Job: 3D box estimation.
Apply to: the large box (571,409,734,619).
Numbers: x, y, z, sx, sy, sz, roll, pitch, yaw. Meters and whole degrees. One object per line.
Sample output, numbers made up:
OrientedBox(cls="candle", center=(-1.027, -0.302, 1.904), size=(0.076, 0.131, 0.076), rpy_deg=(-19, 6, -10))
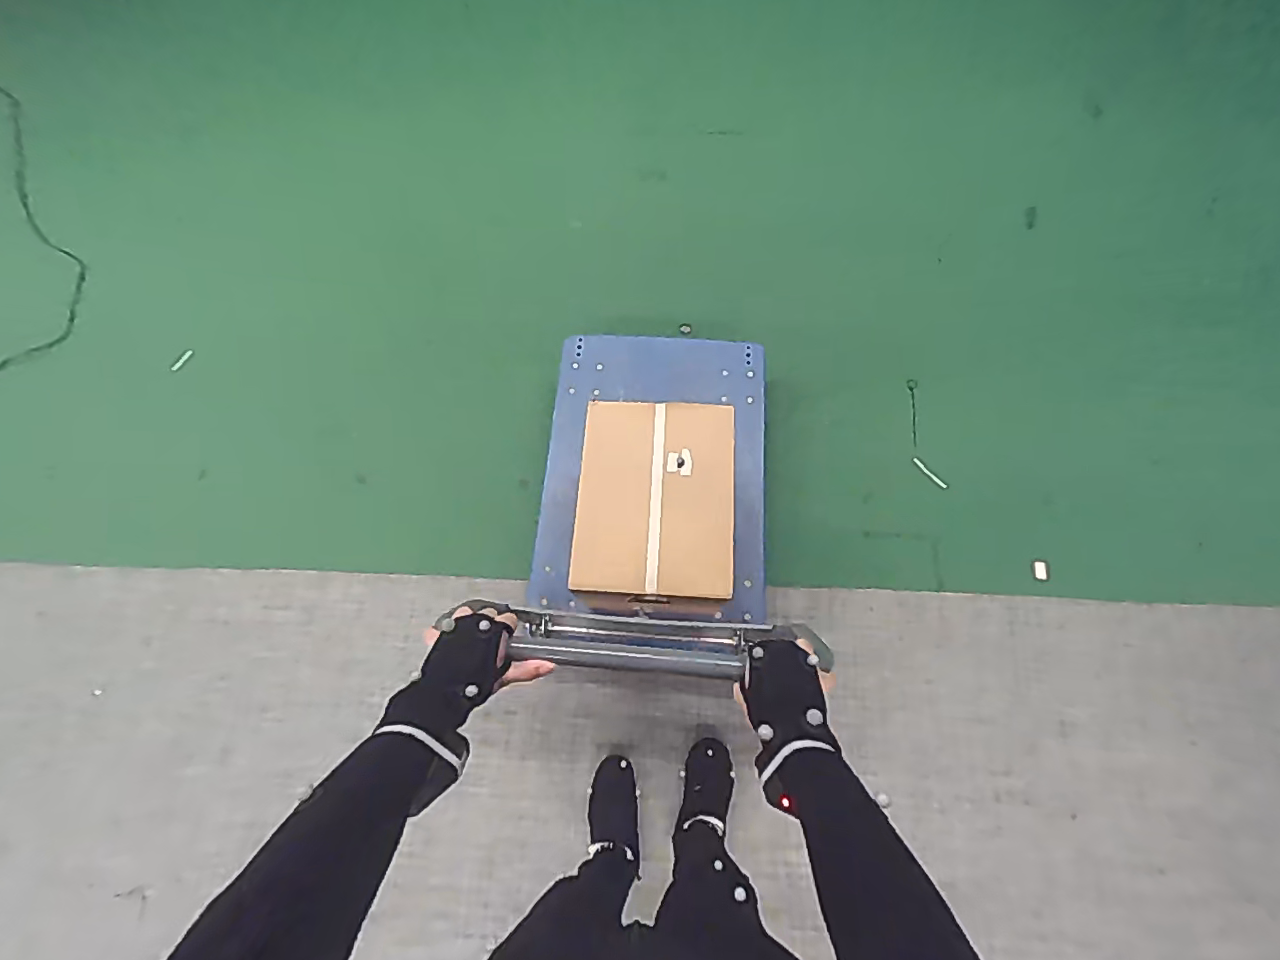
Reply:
OrientedBox(cls="large box", center=(0.039, 0.091, 1.223), size=(0.320, 0.320, 0.408), rpy_deg=(3, 70, 3))
